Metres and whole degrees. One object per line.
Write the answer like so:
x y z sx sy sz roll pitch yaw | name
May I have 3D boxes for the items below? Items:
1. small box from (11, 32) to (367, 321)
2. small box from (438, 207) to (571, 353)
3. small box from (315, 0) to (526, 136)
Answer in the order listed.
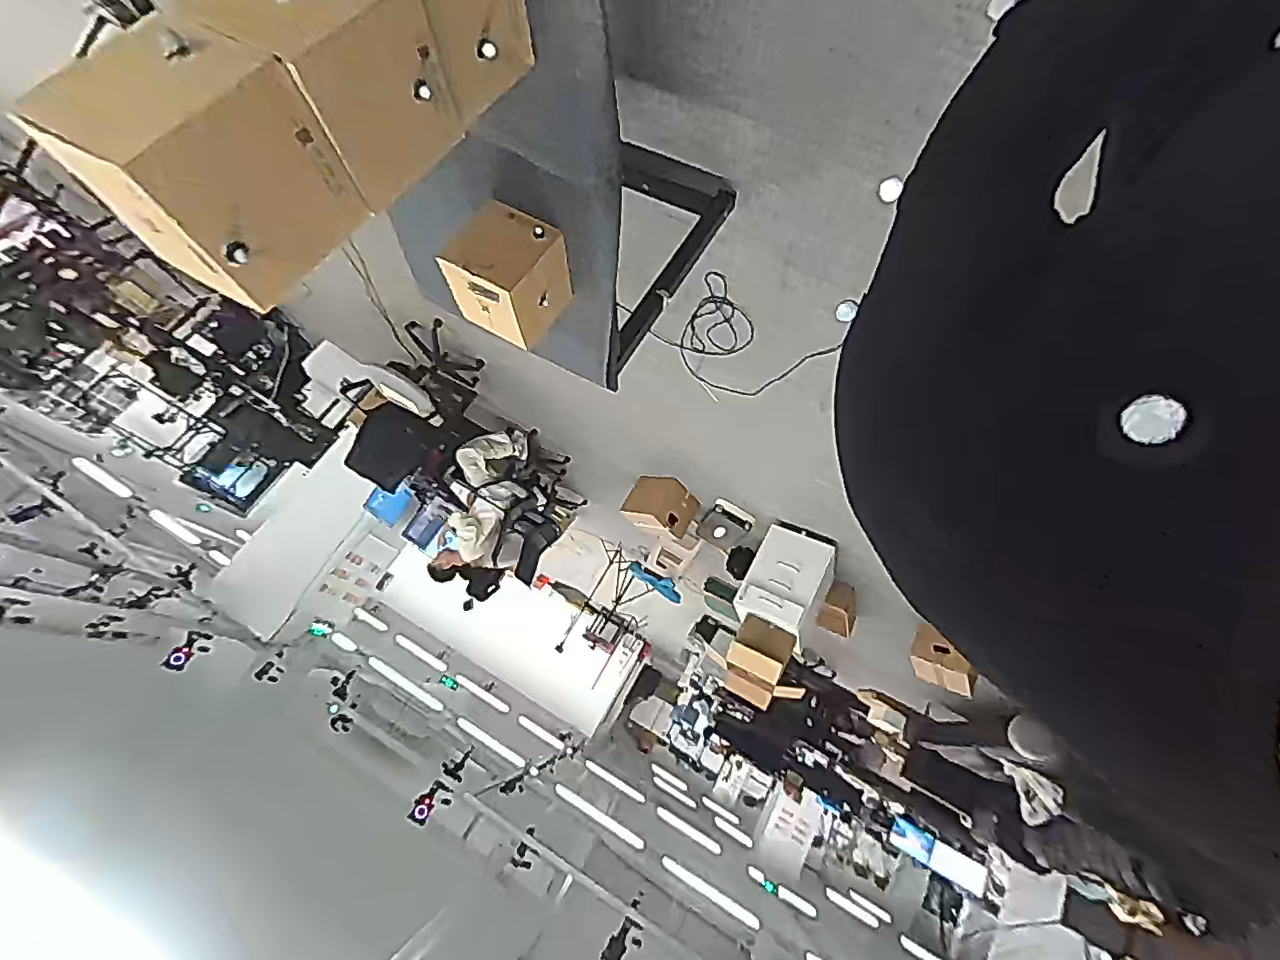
-0.421 -0.300 0.539 0.179 0.176 0.168 28 161 15 | small box
-0.253 -0.391 1.055 0.168 0.176 0.179 29 161 11 | small box
-0.254 -0.563 0.644 0.179 0.176 0.168 29 161 12 | small box
